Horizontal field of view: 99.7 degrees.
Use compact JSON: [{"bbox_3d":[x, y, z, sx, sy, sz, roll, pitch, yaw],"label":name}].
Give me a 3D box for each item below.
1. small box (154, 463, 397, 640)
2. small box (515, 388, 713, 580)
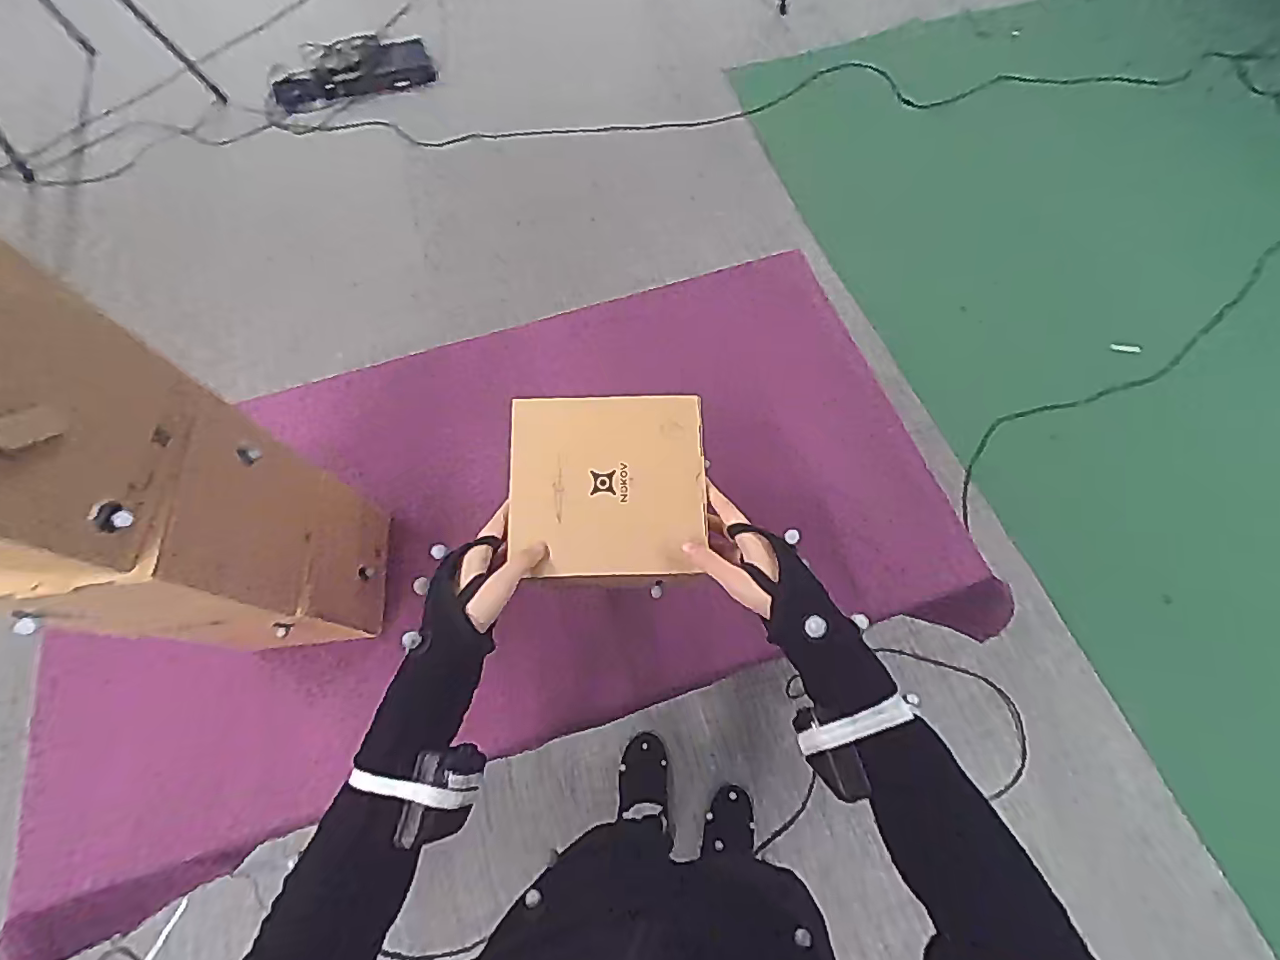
[{"bbox_3d":[-0.430,0.097,0.671,0.179,0.176,0.168,-8,67,-1],"label":"small box"},{"bbox_3d":[-0.022,0.013,0.568,0.179,0.176,0.168,-1,74,1],"label":"small box"}]
